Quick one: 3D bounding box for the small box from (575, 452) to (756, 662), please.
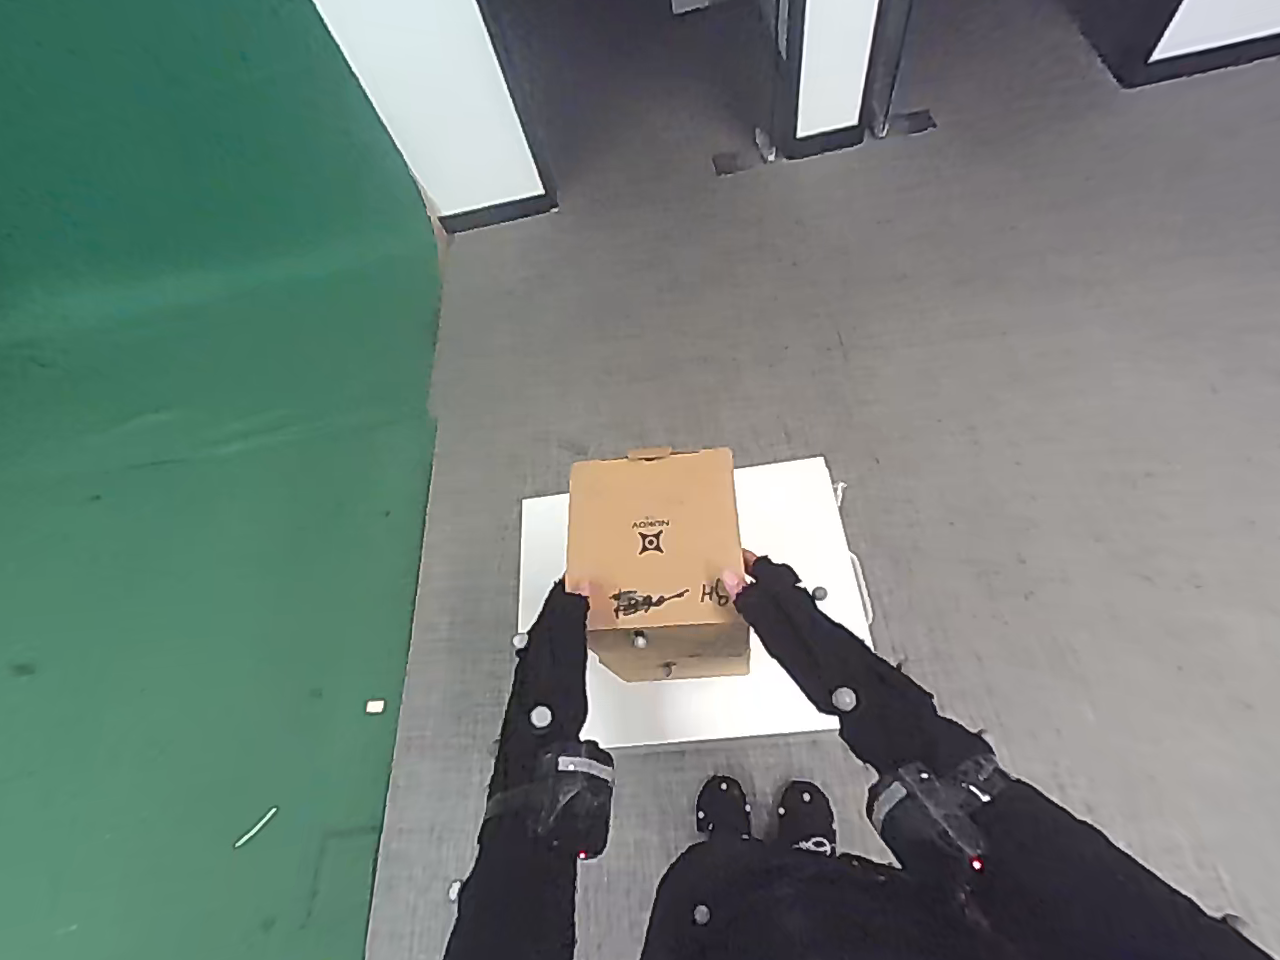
[{"bbox_3d":[0.028,0.091,0.591,0.168,0.176,0.179,-7,63,6],"label":"small box"}]

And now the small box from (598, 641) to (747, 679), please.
[{"bbox_3d":[0.048,0.169,0.729,0.179,0.176,0.168,-6,61,8],"label":"small box"}]
